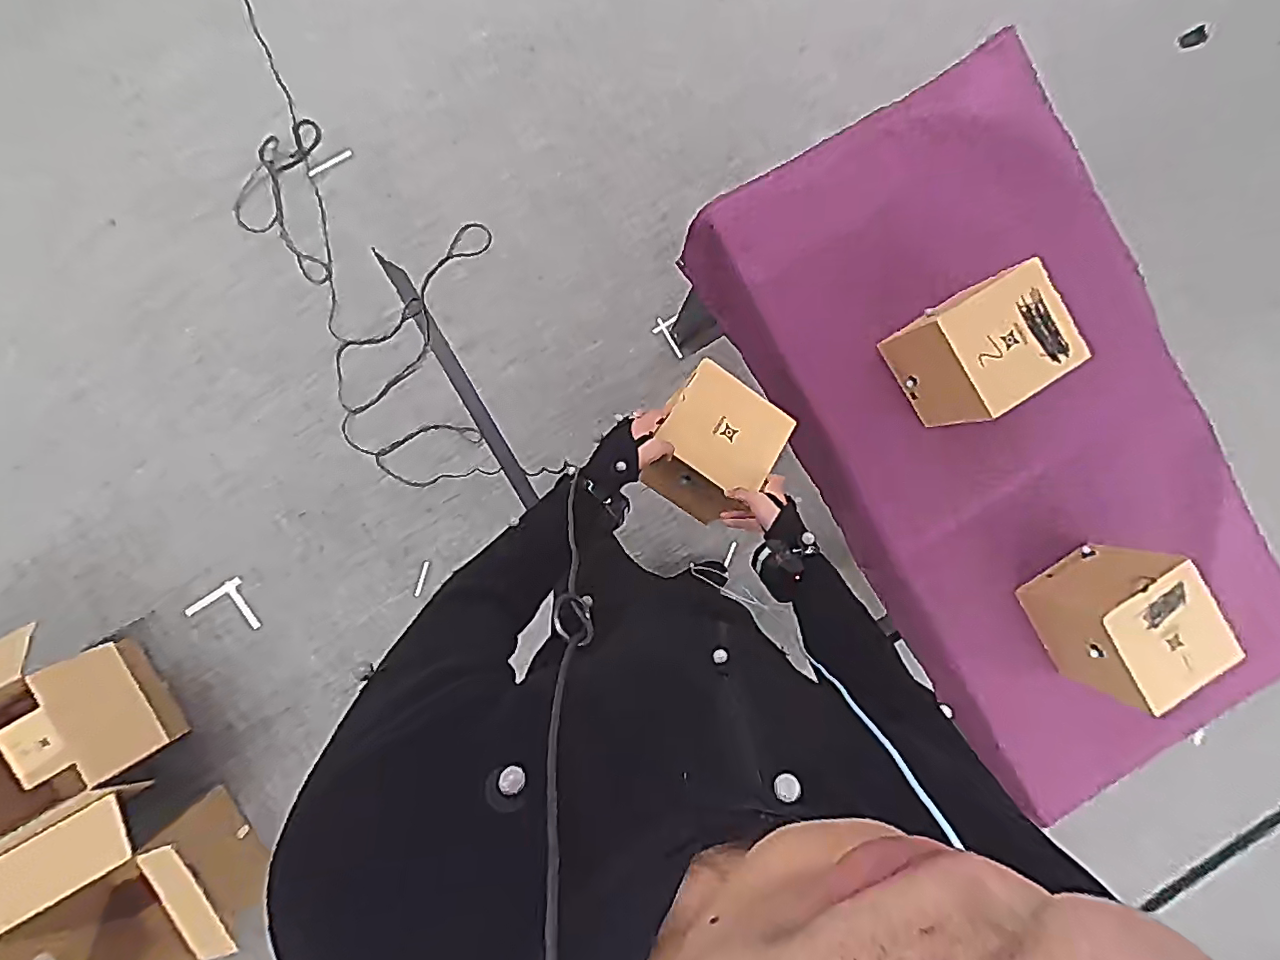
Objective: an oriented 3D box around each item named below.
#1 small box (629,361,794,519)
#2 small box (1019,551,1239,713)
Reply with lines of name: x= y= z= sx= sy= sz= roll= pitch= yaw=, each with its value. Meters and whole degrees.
small box: x=0.106 y=-0.052 z=0.870 sx=0.179 sy=0.176 sz=0.168 roll=34 pitch=71 yaw=-3
small box: x=0.765 y=0.227 z=0.868 sx=0.168 sy=0.176 sz=0.179 roll=-31 pitch=94 yaw=-3
